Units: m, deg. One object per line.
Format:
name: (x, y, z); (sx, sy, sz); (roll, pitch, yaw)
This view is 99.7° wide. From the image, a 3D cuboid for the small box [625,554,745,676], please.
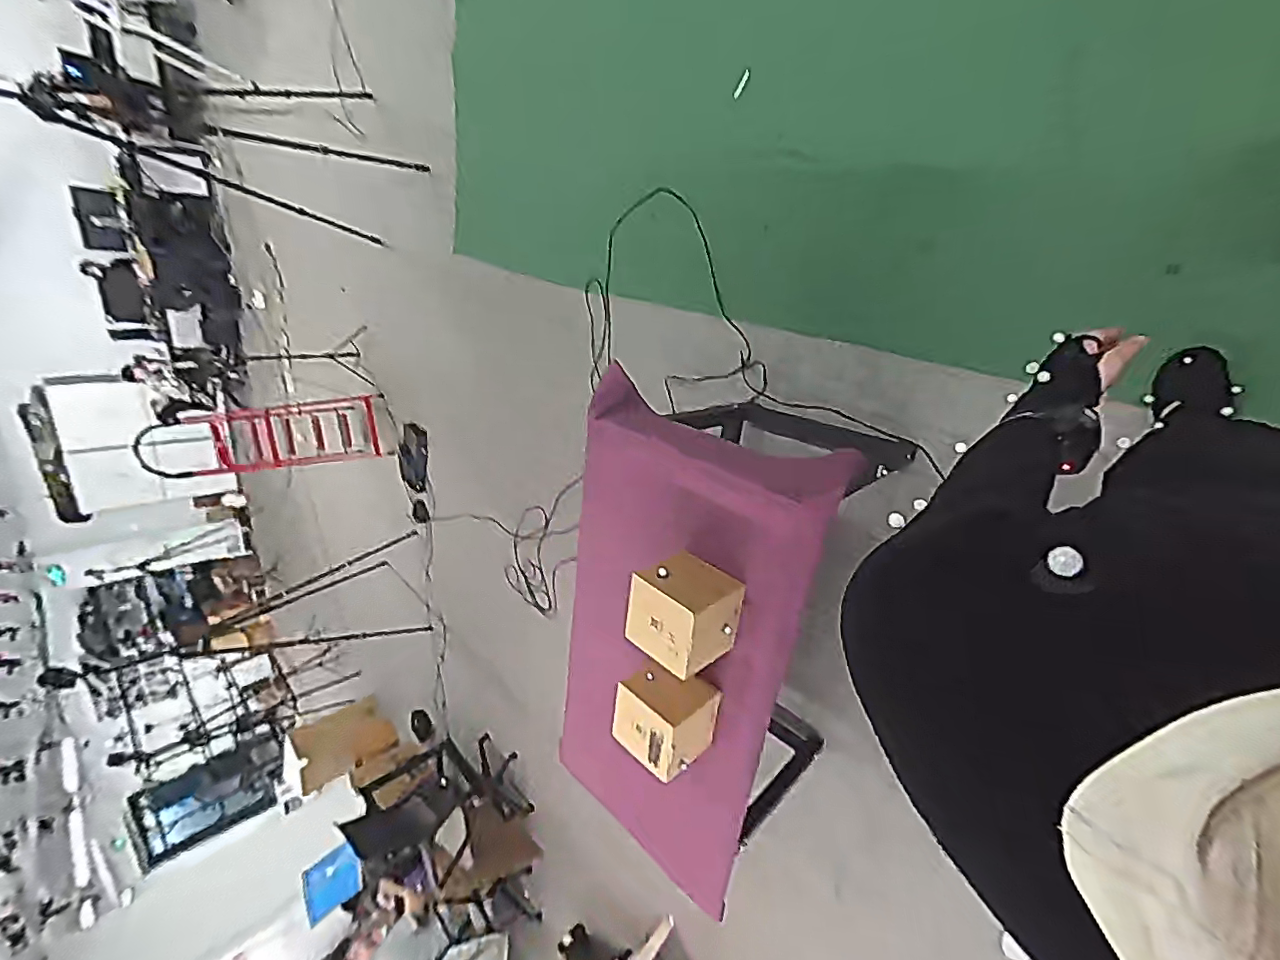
small box: (0.094, 0.275, 1.153); (0.179, 0.176, 0.168); (26, 119, 38)
